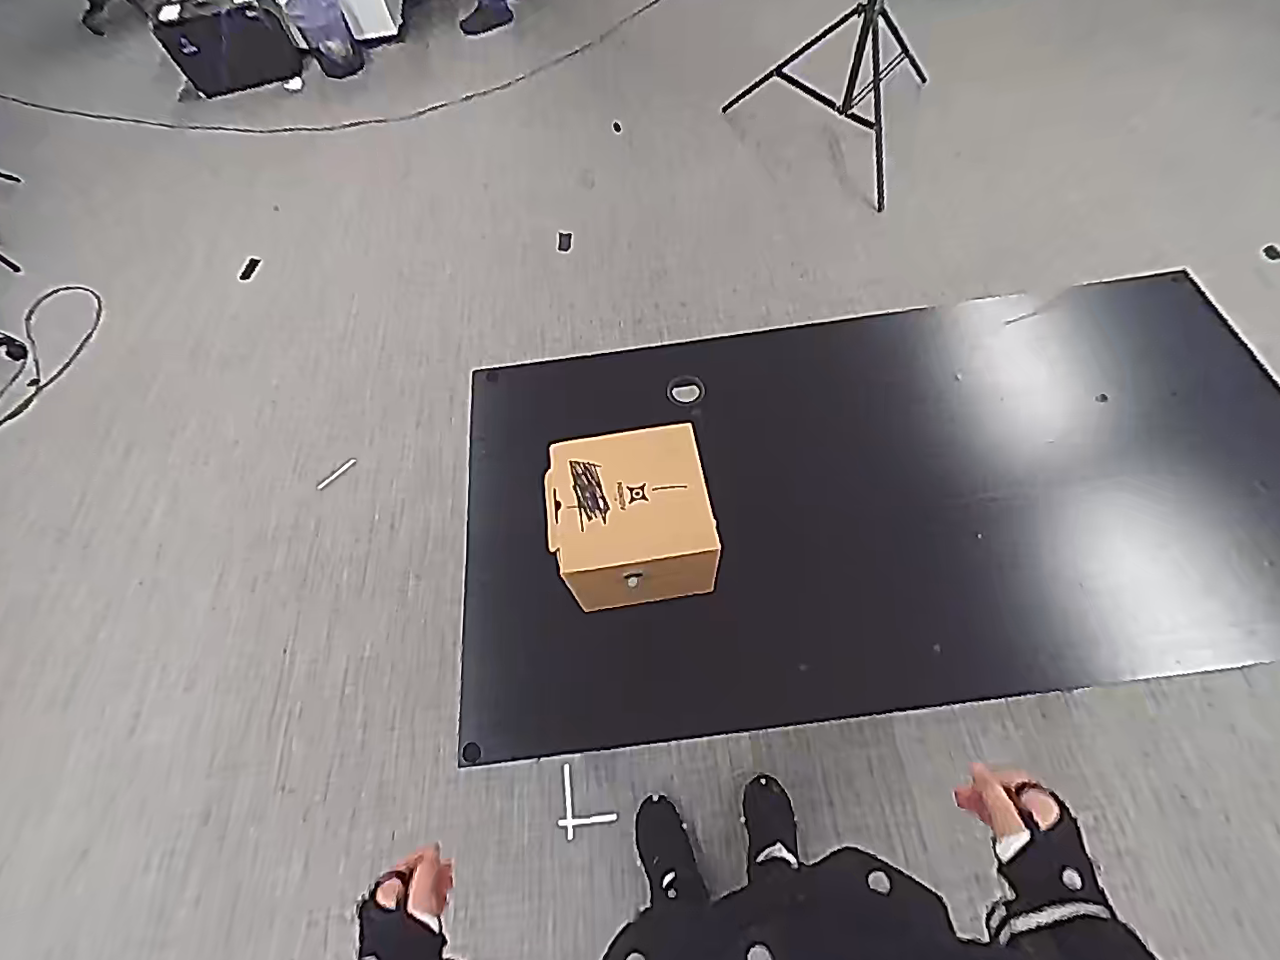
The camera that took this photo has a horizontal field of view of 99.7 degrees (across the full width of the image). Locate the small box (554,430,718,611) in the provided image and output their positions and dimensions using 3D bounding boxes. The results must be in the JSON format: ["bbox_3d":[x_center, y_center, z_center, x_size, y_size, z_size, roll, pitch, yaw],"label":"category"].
[{"bbox_3d":[-0.004,0.060,0.695,0.179,0.176,0.168,-9,62,-1],"label":"small box"}]
